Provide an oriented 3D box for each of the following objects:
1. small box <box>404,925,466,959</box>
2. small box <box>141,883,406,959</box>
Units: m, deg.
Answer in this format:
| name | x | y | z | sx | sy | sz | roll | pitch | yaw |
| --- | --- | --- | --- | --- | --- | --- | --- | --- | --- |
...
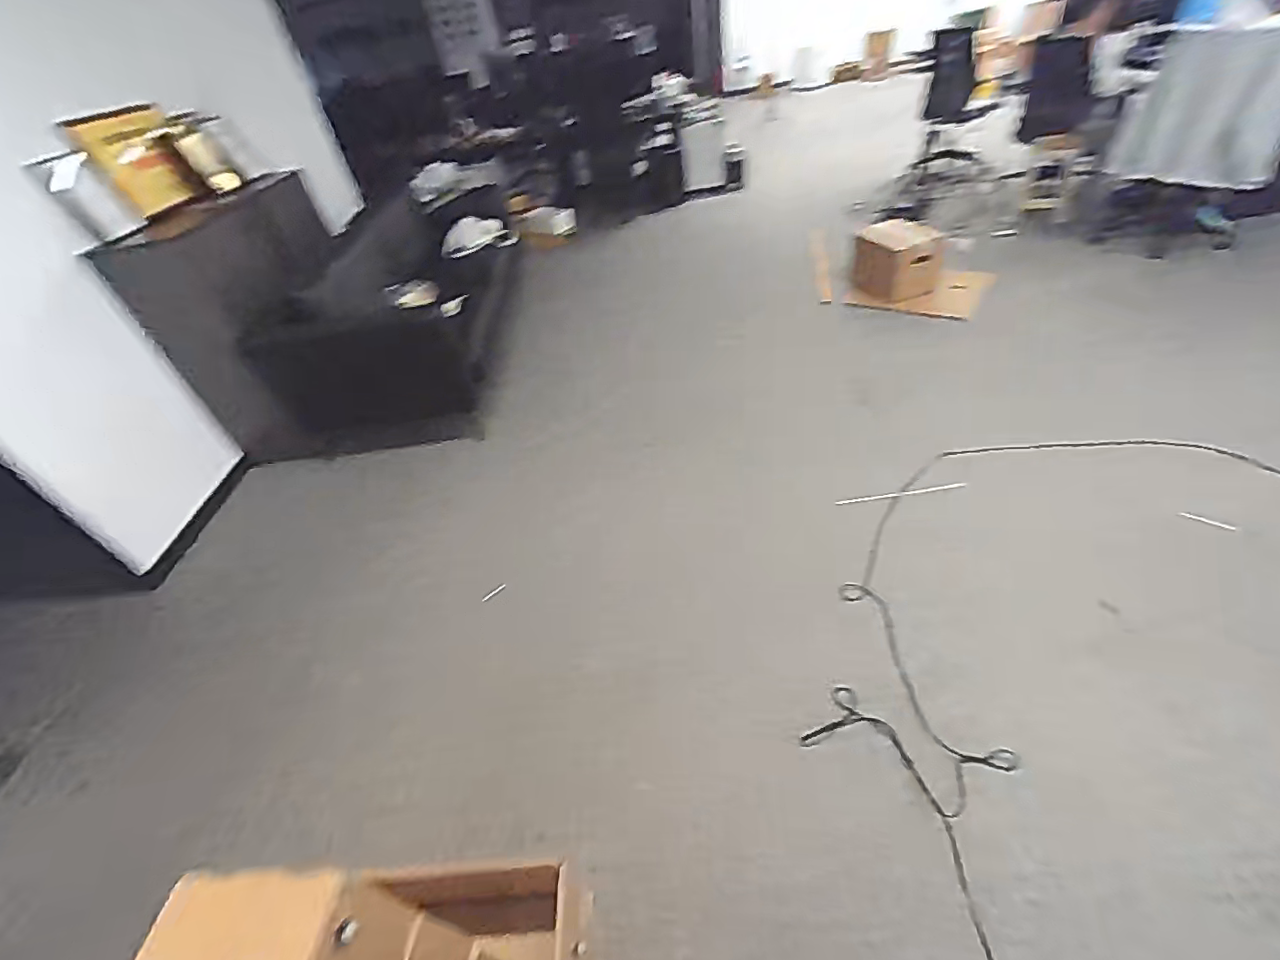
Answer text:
| name | x | y | z | sx | sy | sz | roll | pitch | yaw |
| --- | --- | --- | --- | --- | --- | --- | --- | --- | --- |
| small box | -0.316 | 0.609 | 0.597 | 0.179 | 0.176 | 0.168 | -6 | 41 | 7 |
| small box | -0.340 | 0.491 | 0.488 | 0.168 | 0.176 | 0.179 | -6 | 41 | 5 |
